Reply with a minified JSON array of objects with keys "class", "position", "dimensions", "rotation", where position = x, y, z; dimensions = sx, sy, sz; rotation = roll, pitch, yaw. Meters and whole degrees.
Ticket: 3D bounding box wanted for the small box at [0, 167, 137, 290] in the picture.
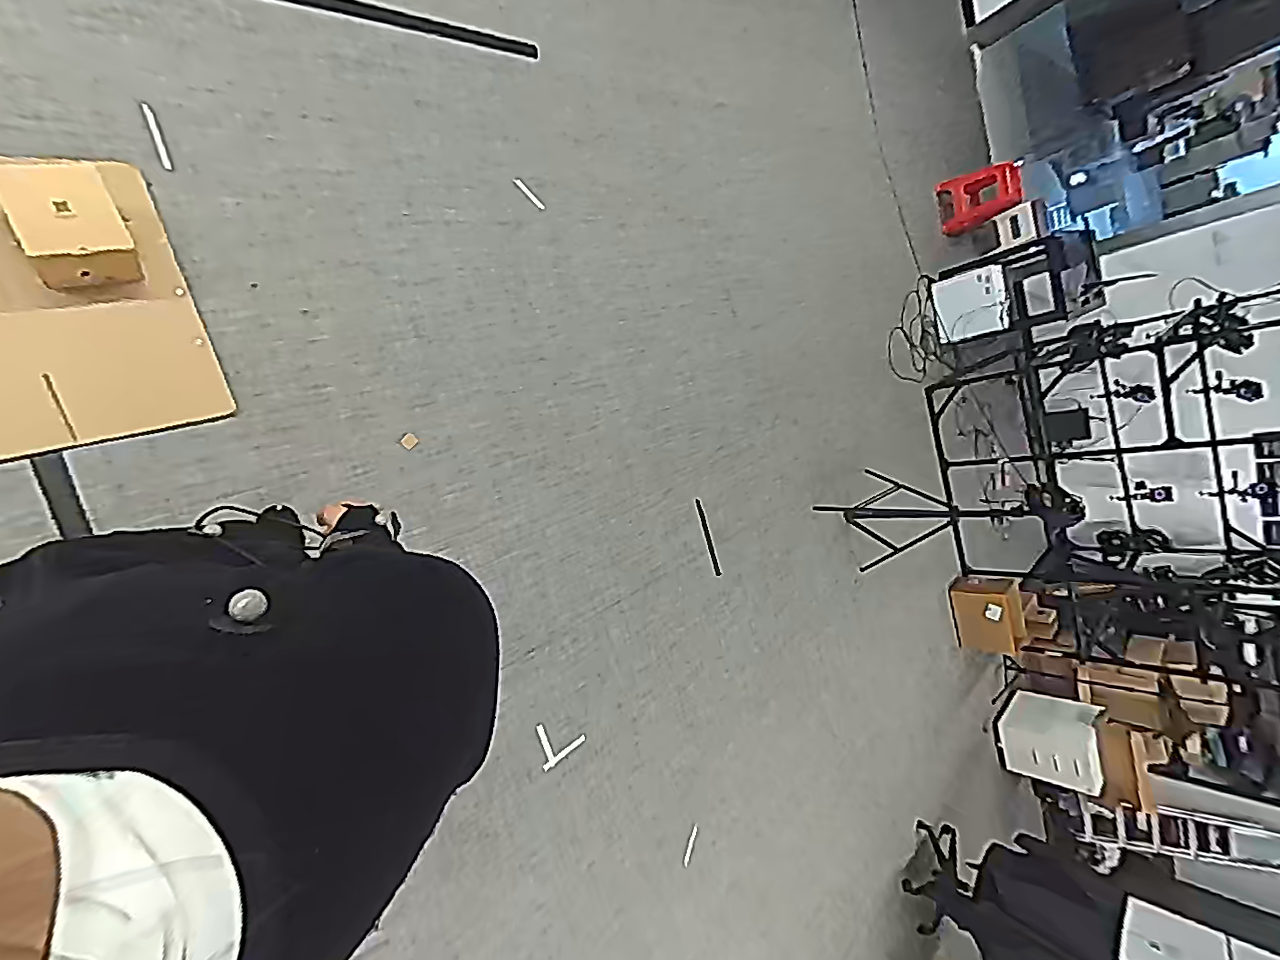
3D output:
[{"class":"small box","position":[-1.193,-0.519,1.123],"dimensions":[0.168,0.176,0.179],"rotation":[-28,103,-37]}]
